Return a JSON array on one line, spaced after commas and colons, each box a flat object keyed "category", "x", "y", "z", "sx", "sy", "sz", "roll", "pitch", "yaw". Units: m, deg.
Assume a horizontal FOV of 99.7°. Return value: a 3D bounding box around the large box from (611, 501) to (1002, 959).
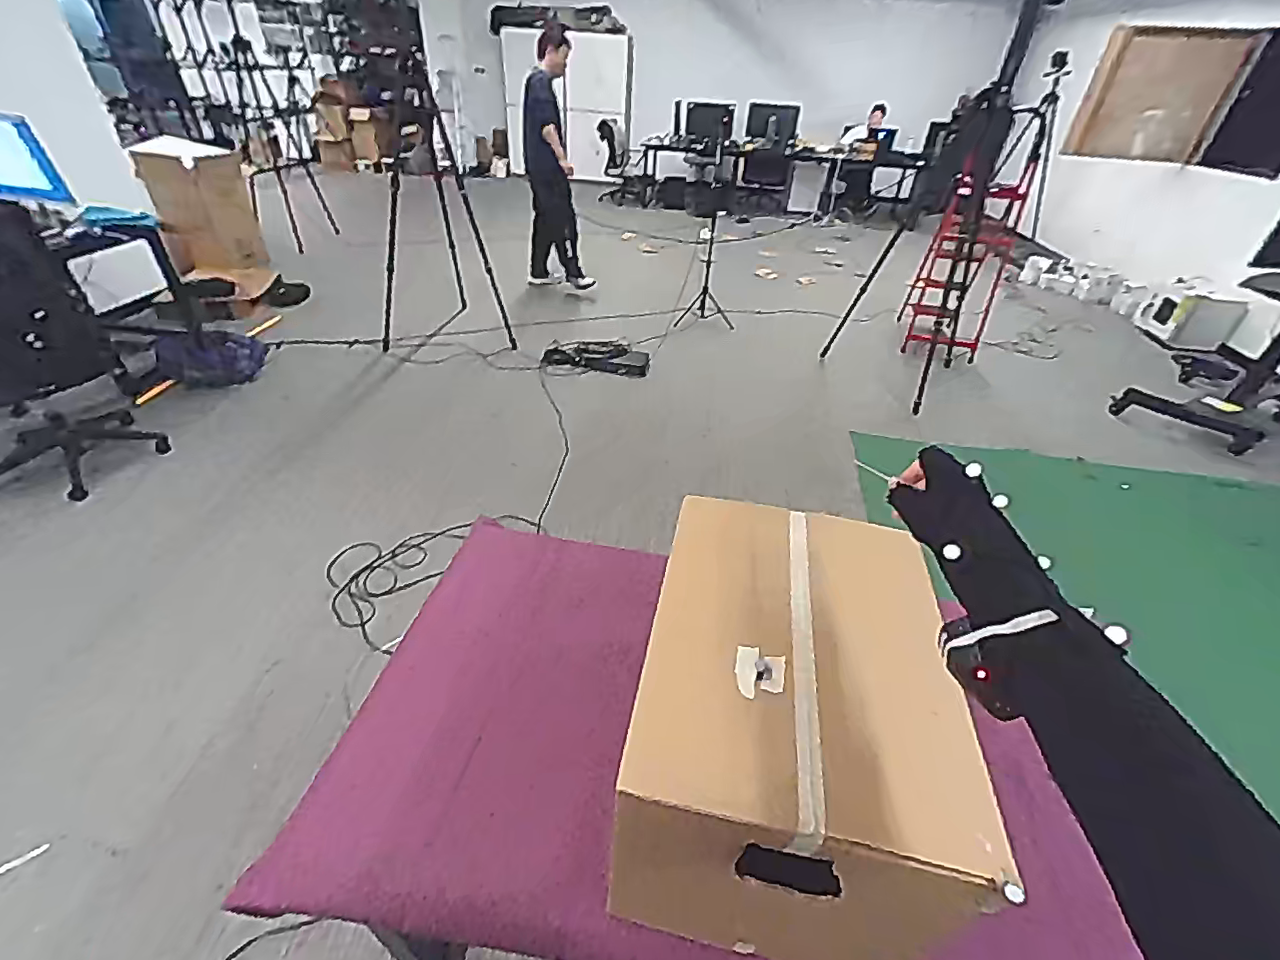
[{"category": "large box", "x": 0.161, "y": 0.288, "z": 0.682, "sx": 0.320, "sy": 0.320, "sz": 0.408, "roll": 10, "pitch": 38, "yaw": 8}]
